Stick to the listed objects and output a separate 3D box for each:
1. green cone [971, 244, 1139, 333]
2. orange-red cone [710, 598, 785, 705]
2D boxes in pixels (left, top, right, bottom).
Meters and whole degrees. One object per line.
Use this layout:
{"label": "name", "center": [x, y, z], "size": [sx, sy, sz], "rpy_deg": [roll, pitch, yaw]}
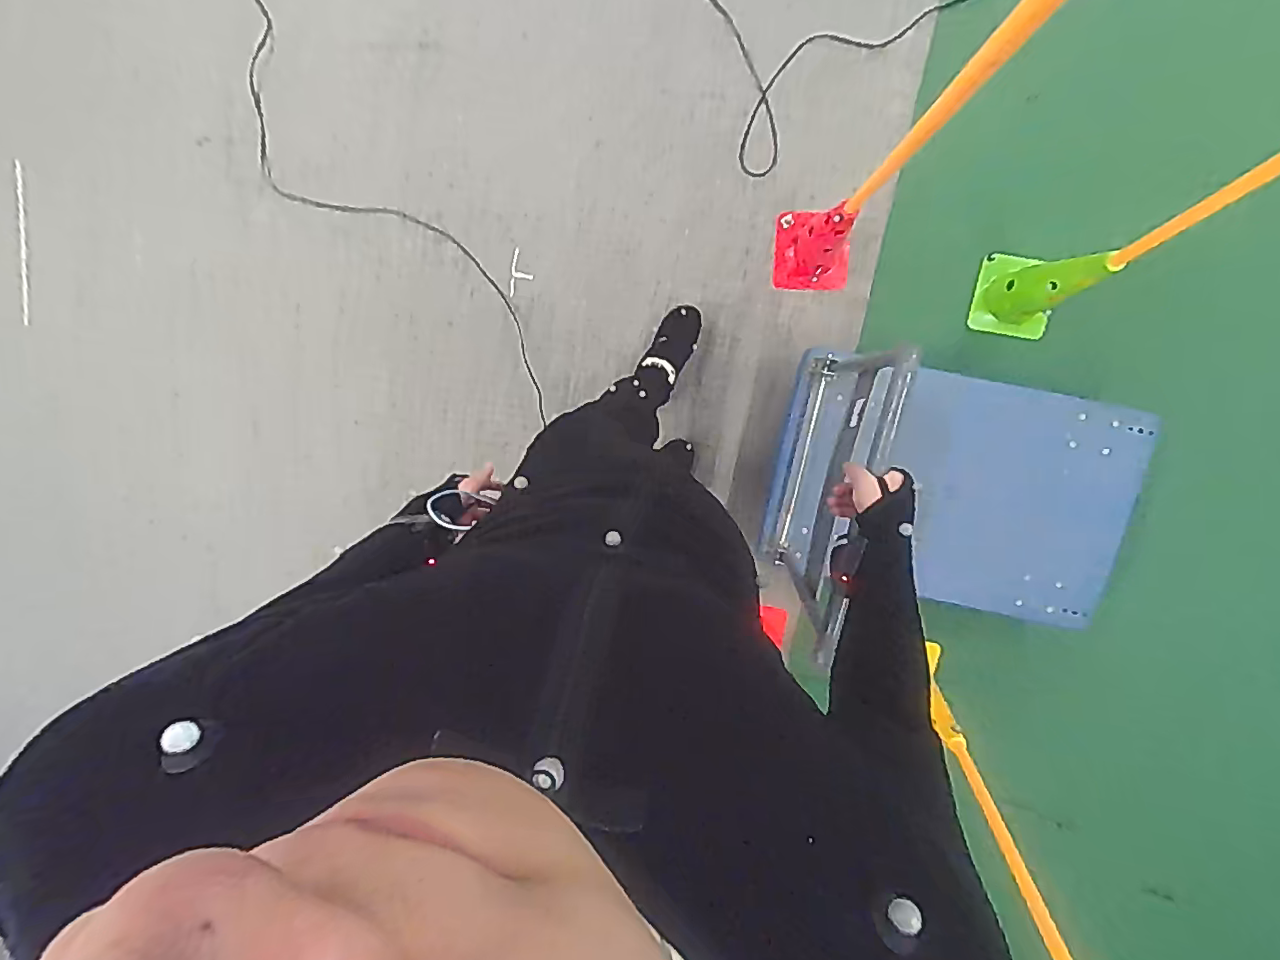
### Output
{"label": "green cone", "center": [0.977, -0.474, 1.250], "size": [0.202, 0.368, 0.200], "rpy_deg": [10, 99, 2]}
{"label": "orange-red cone", "center": [0.315, 0.491, 1.467], "size": [0.199, 0.360, 0.198], "rpy_deg": [10, 101, 1]}
